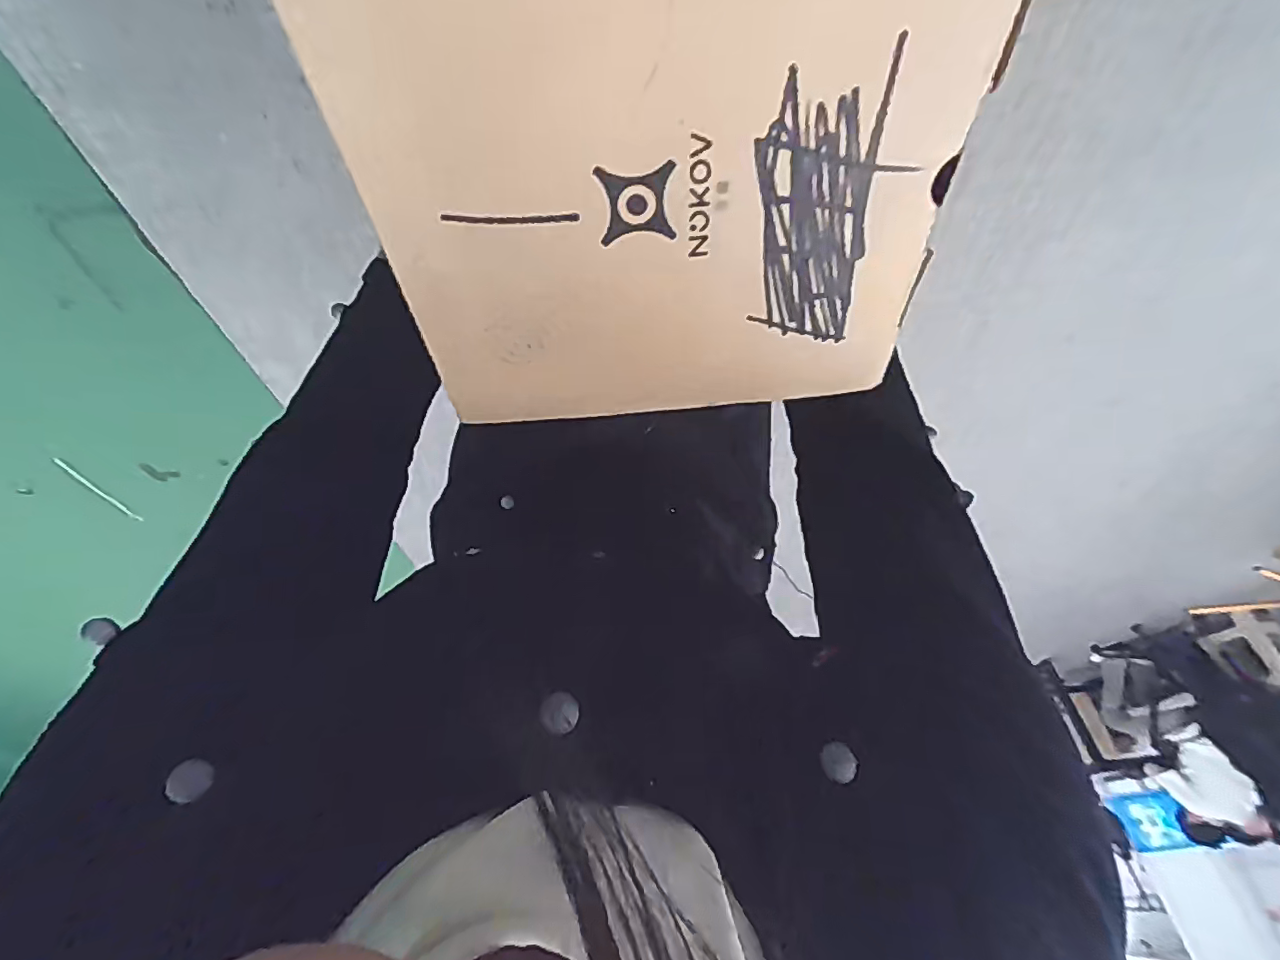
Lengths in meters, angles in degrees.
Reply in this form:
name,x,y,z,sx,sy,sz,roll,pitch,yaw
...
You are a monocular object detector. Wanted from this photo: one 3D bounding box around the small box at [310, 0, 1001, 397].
name,x,y,z,sx,sy,sz,roll,pitch,yaw
small box,0.005,-0.155,0.219,0.179,0.176,0.168,-4,141,1
